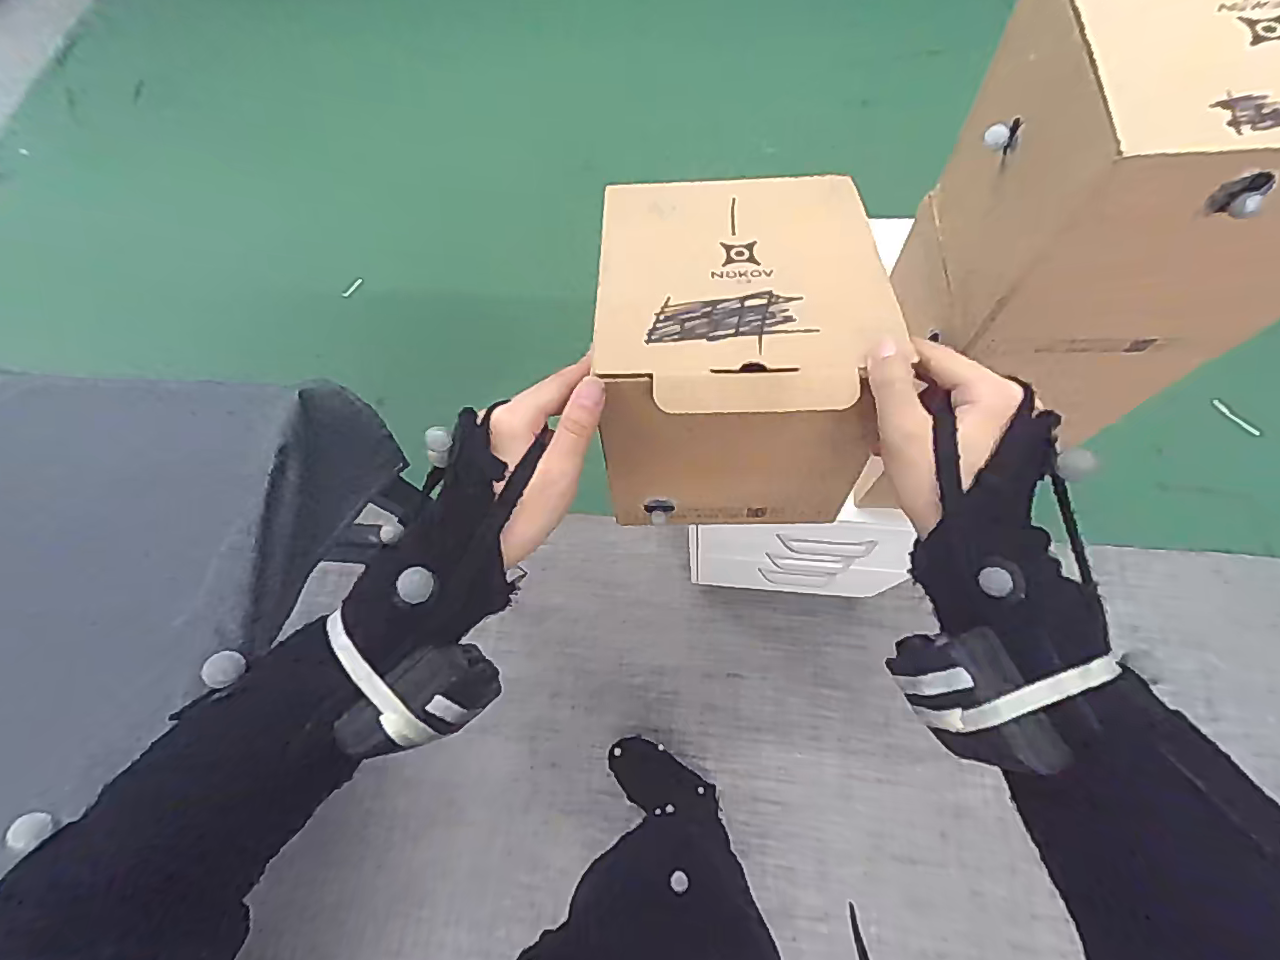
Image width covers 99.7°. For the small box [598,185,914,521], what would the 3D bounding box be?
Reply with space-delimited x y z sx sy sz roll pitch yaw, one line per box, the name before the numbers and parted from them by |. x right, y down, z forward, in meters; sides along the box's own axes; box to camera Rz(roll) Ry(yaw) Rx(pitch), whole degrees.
small box | 0.066 -0.080 0.390 0.168 0.176 0.179 0 58 2

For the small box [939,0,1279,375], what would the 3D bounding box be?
small box | 0.314 -0.189 0.344 0.168 0.176 0.179 2 68 7

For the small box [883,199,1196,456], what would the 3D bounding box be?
small box | 0.329 -0.129 0.495 0.168 0.176 0.179 0 68 6
